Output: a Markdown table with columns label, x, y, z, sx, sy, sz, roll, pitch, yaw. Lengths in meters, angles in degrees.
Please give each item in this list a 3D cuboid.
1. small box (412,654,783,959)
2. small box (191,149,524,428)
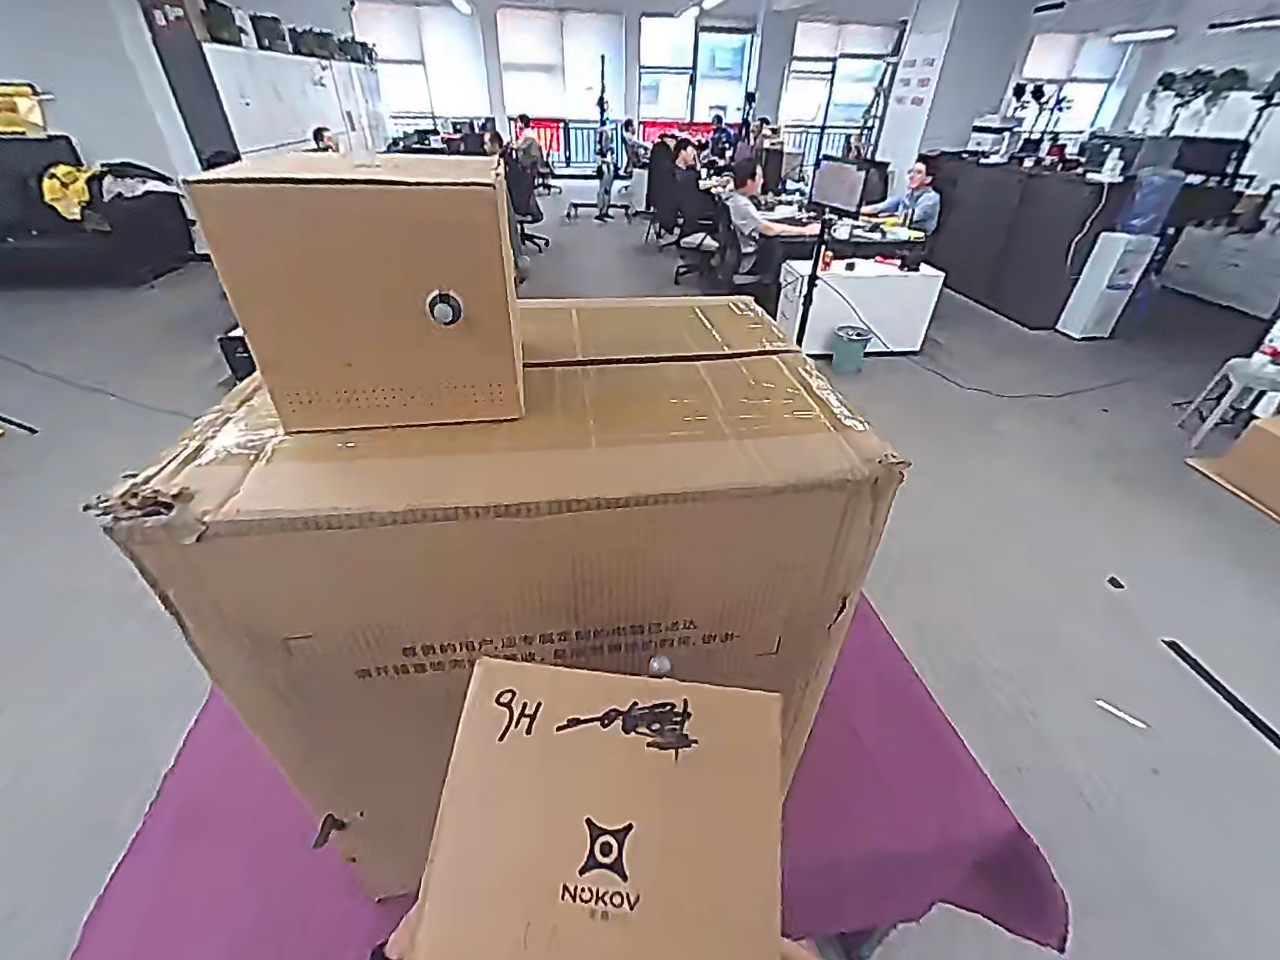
| label | x | y | z | sx | sy | sz | roll | pitch | yaw |
| --- | --- | --- | --- | --- | --- | --- | --- | --- | --- |
| small box | -0.012 | 0.216 | 0.327 | 0.168 | 0.176 | 0.179 | 5 | 64 | 4 |
| small box | -0.185 | -0.154 | 0.427 | 0.179 | 0.176 | 0.168 | -6 | 35 | -10 |
